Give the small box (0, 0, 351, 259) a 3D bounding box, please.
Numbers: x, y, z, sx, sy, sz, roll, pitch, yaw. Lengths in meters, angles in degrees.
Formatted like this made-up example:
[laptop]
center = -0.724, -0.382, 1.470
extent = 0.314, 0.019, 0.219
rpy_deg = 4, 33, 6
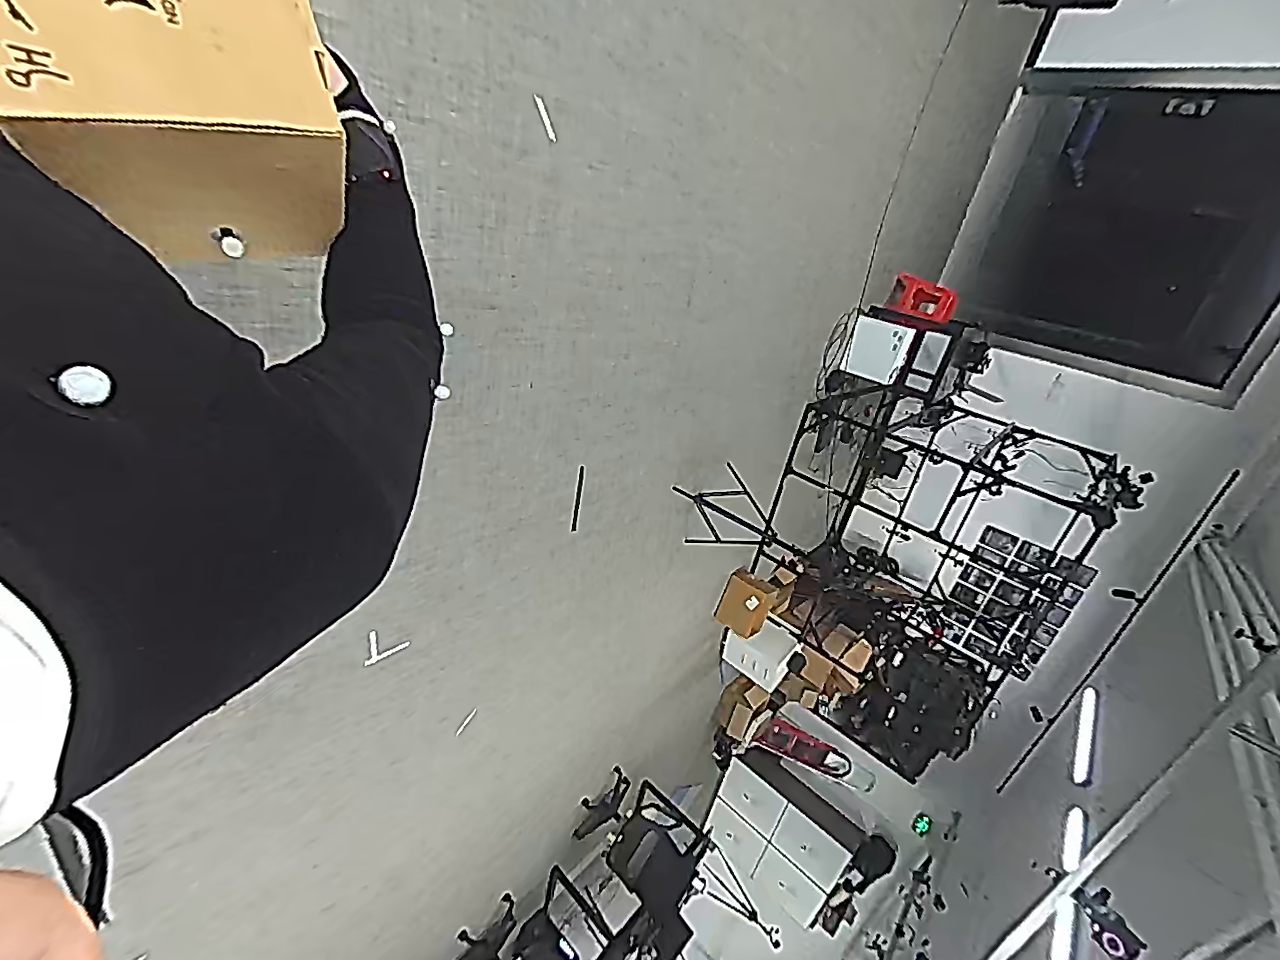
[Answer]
[small box]
center = -0.342, -0.288, 0.413
extent = 0.179, 0.176, 0.168
rpy_deg = -18, 90, -31
